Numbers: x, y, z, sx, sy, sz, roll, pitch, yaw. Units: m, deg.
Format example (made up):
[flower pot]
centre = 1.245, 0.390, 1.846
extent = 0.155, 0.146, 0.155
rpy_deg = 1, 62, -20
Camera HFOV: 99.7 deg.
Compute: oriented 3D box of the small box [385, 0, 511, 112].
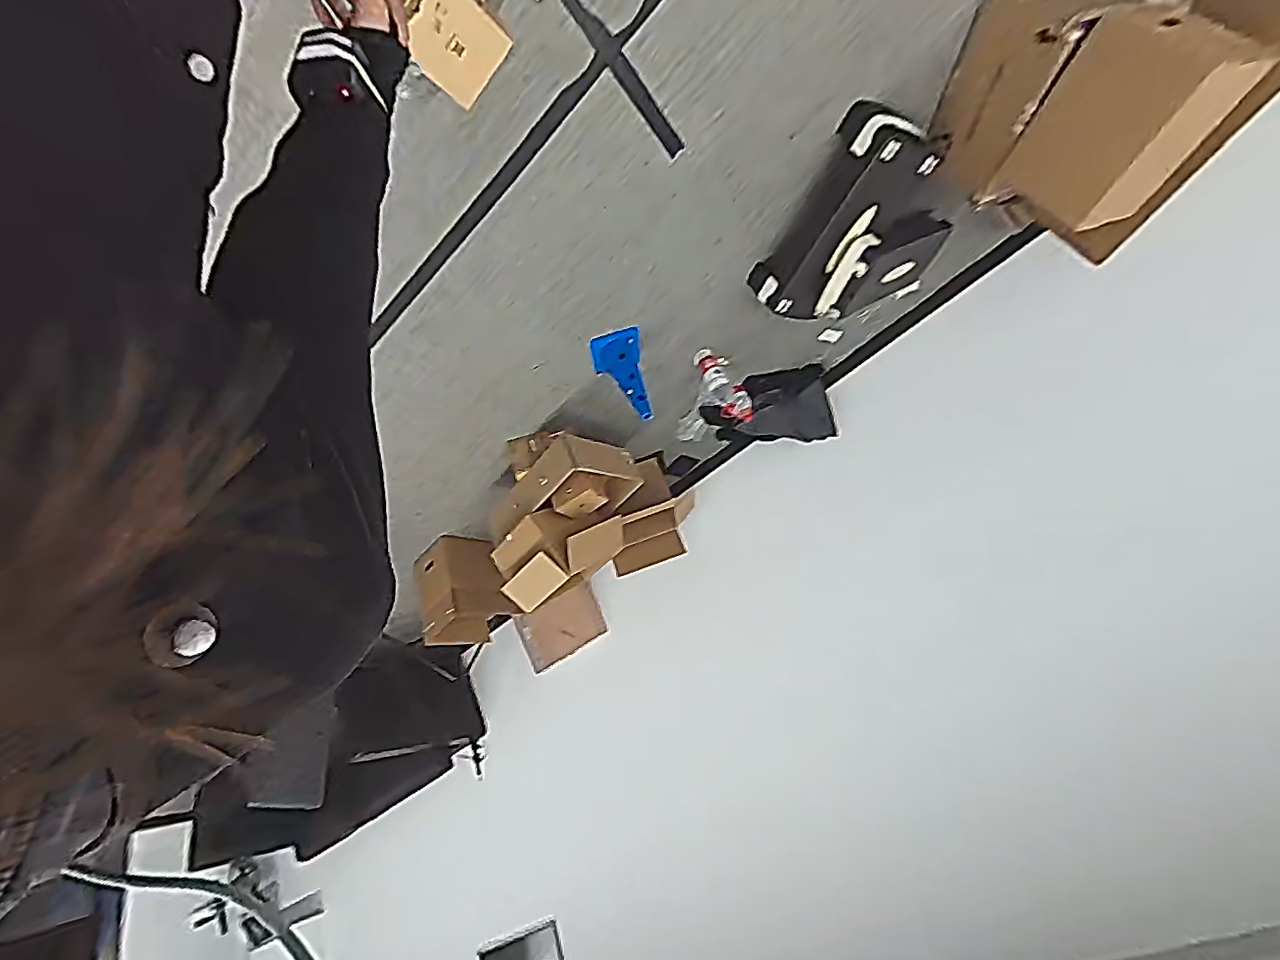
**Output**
[small box]
centre = -0.400, -0.927, 1.118
extent = 0.168, 0.176, 0.179
rpy_deg = -39, 146, 24
